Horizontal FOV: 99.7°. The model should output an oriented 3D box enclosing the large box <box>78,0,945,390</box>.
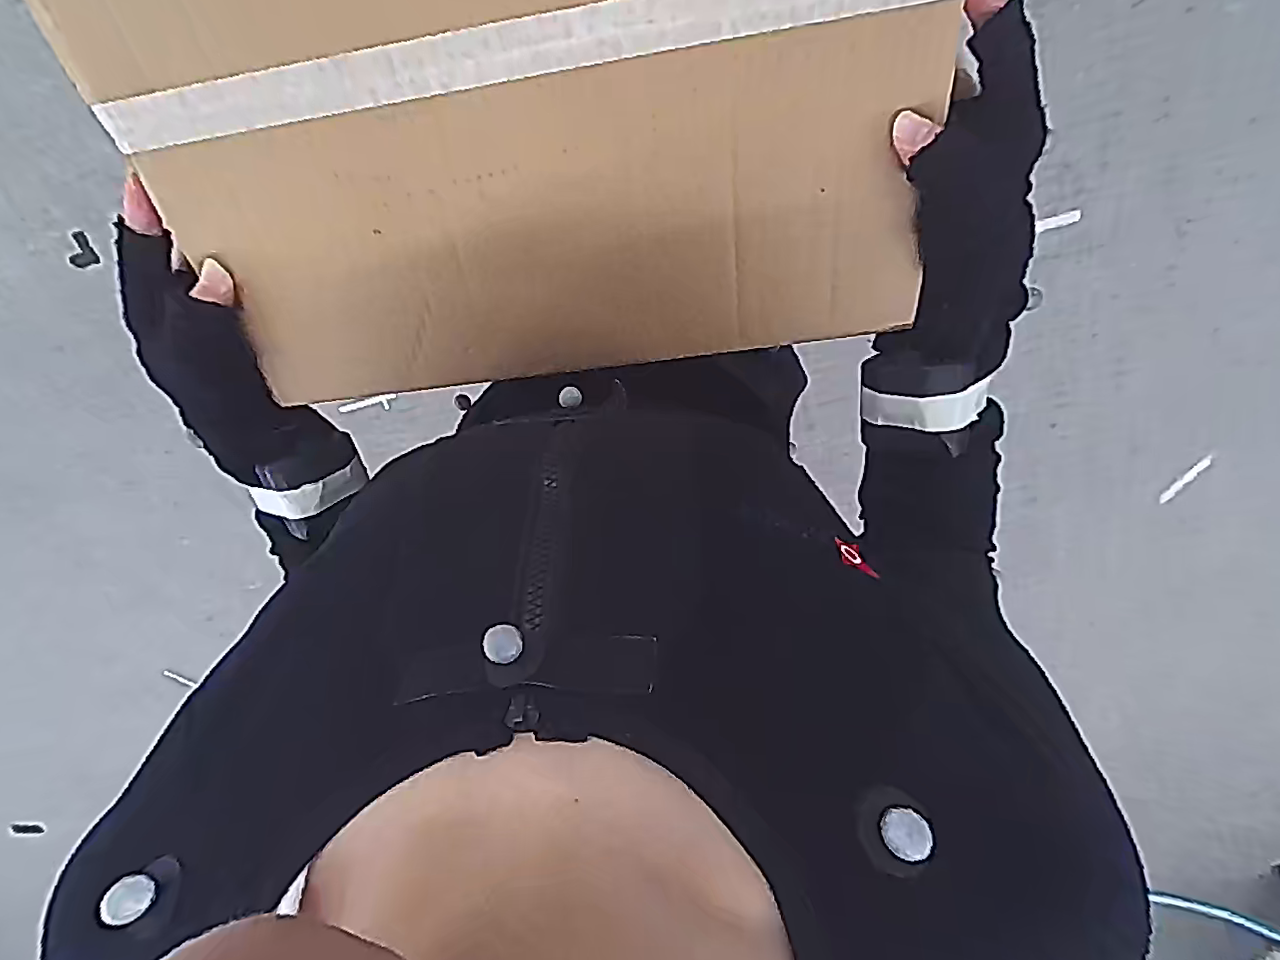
[{"bbox_3d":[-0.057,-0.291,0.379,0.408,0.320,0.320,-6,126,6],"label":"large box"}]
